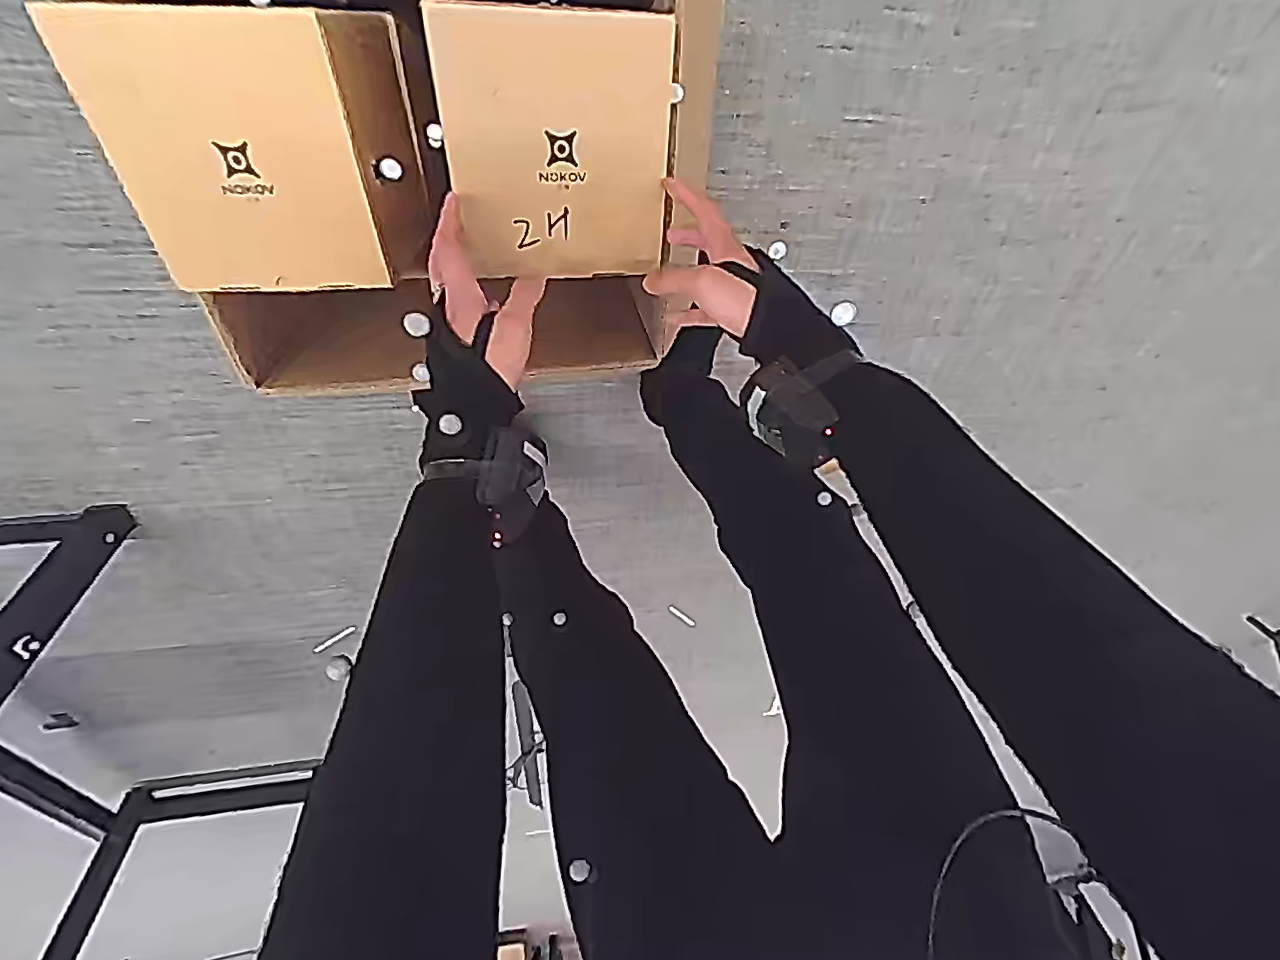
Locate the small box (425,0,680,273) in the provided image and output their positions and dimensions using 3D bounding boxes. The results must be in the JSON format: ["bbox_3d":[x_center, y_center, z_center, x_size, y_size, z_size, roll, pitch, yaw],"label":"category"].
[{"bbox_3d":[-0.072,-0.293,0.455,0.168,0.176,0.179,-3,133,-9],"label":"small box"}]
